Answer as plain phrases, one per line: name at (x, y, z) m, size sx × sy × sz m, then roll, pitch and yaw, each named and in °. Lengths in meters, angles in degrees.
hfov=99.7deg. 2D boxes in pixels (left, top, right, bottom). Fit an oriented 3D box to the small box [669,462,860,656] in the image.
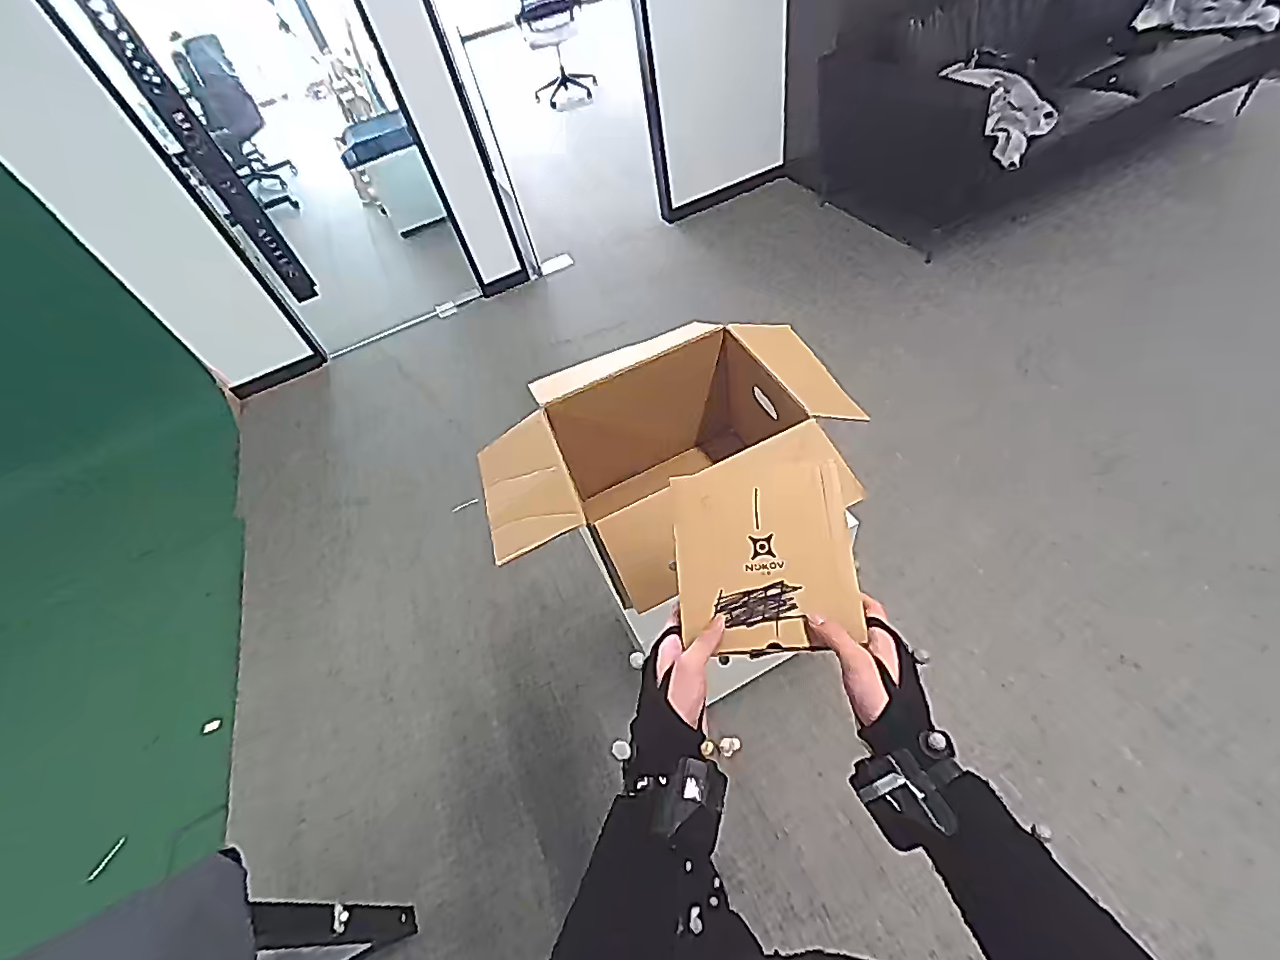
small box at (0.126, 0.093, 0.587) m, size 0.168 × 0.176 × 0.179 m, roll -5°, pitch 73°, yaw 8°
